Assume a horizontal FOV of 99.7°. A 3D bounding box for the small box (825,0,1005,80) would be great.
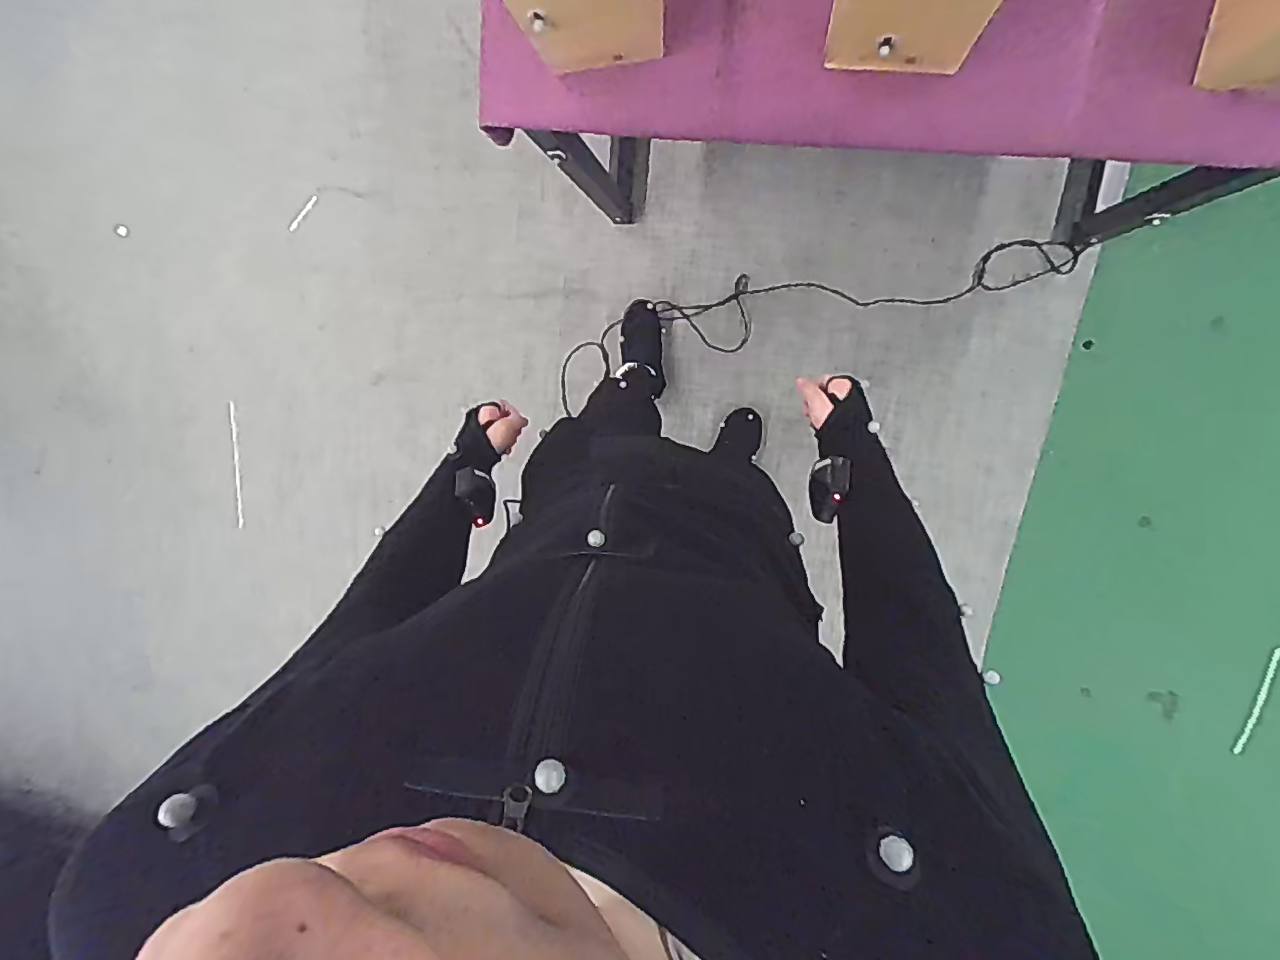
[{"bbox_3d":[0.316,-0.595,0.607,0.168,0.176,0.179,10,104,8],"label":"small box"}]
